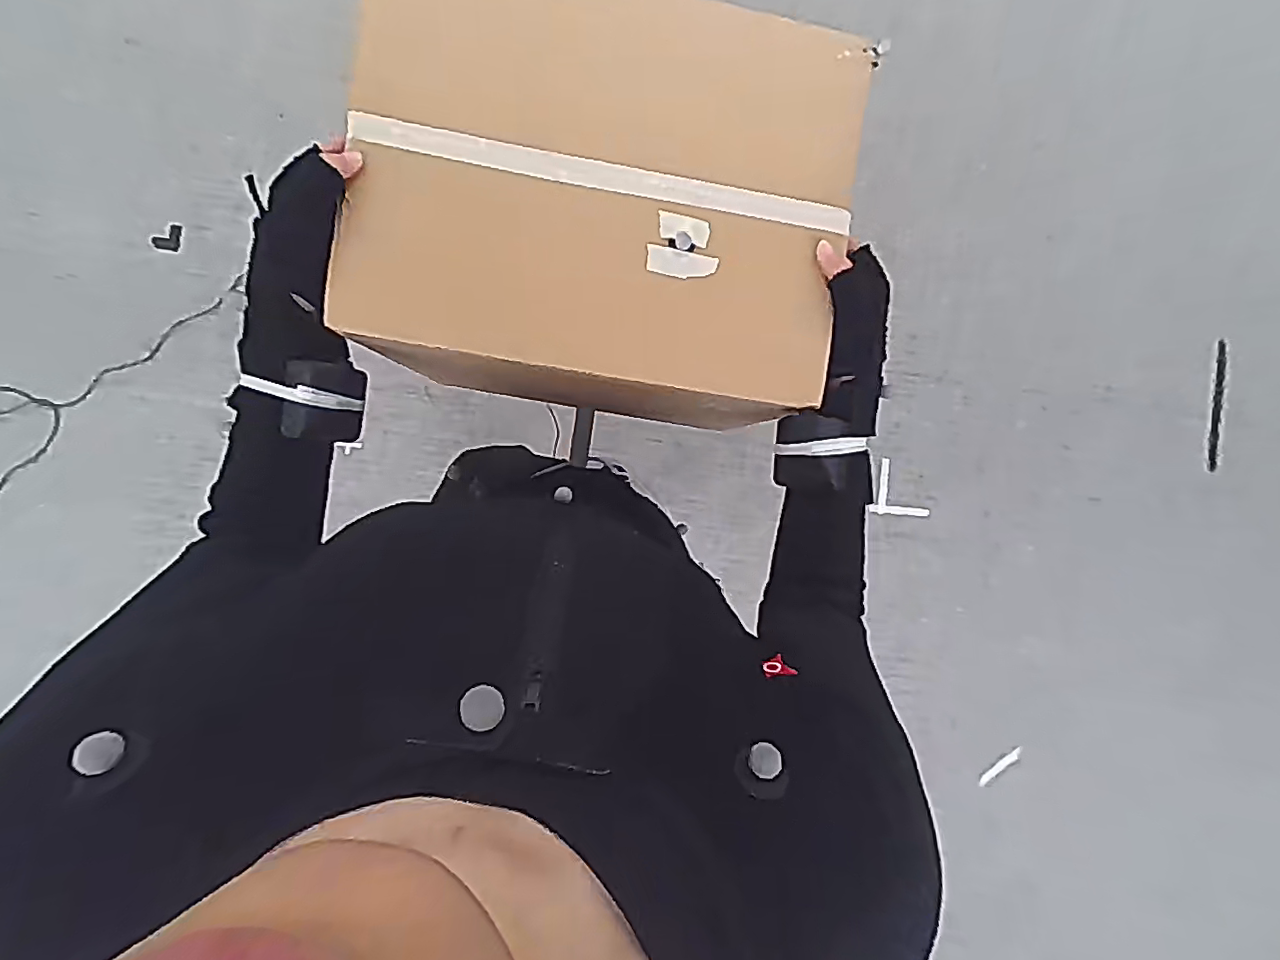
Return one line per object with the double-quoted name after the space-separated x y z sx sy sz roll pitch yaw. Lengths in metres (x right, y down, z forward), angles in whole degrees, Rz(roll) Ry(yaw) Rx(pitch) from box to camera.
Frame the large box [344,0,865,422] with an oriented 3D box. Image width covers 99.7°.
-0.038 -0.251 0.593 0.408 0.320 0.320 9 93 -6 "large box"
